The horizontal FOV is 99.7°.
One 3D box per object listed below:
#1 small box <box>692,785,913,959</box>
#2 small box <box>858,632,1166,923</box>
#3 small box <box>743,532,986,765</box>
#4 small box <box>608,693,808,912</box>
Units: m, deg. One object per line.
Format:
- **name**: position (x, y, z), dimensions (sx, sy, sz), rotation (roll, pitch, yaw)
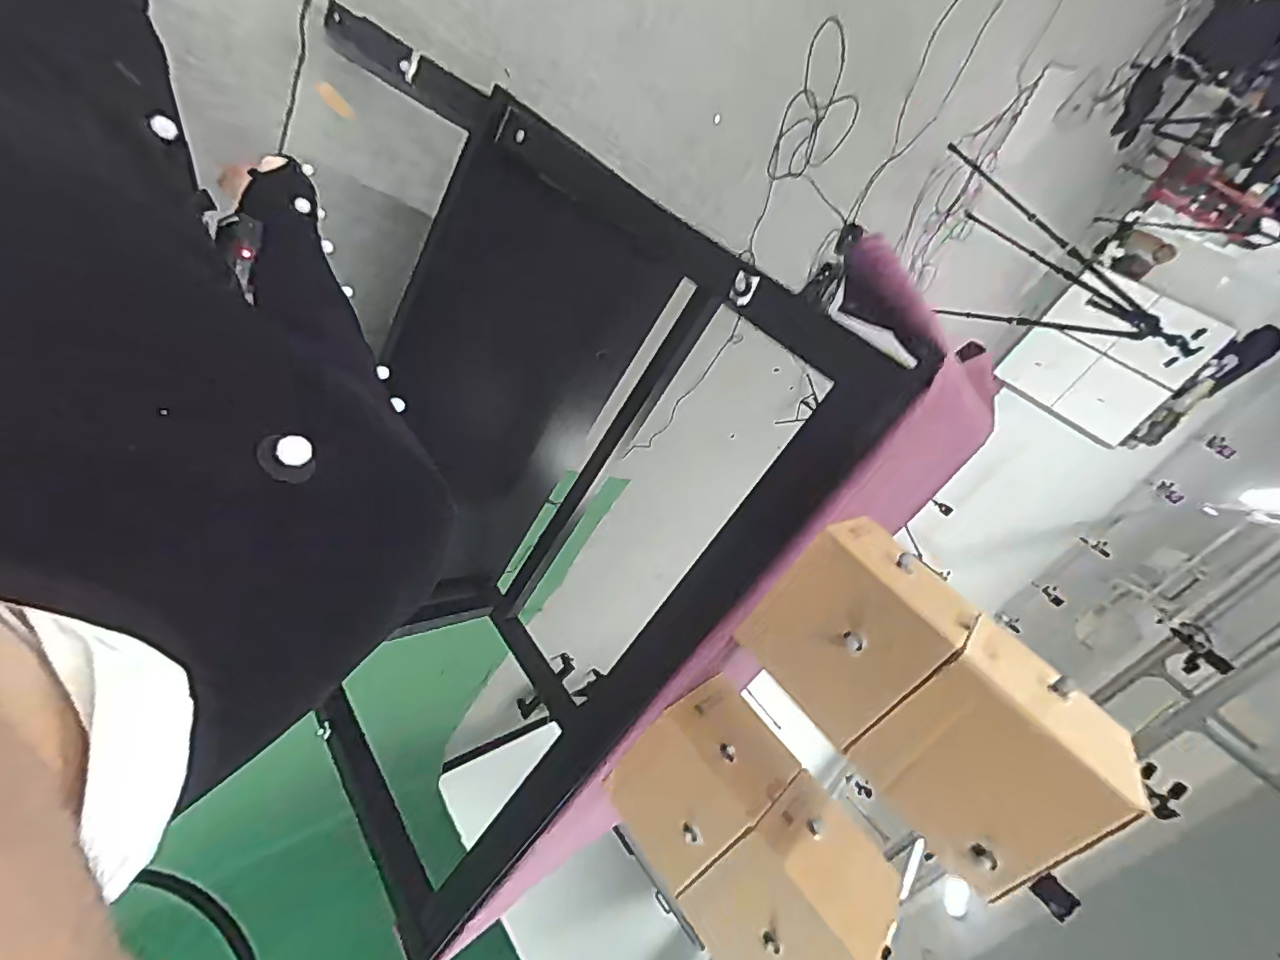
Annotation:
- **small box**: position (0.188, 0.520, 0.659), dimensions (0.168, 0.176, 0.179), rotation (-1, 129, -53)
- **small box**: position (0.356, 0.276, 0.547), dimensions (0.168, 0.176, 0.179), rotation (-3, 133, -53)
- **small box**: position (0.252, 0.173, 0.619), dimensions (0.168, 0.176, 0.179), rotation (-1, 130, -53)
- **small box**: position (0.087, 0.416, 0.735), dimensions (0.168, 0.176, 0.179), rotation (0, 129, -53)
